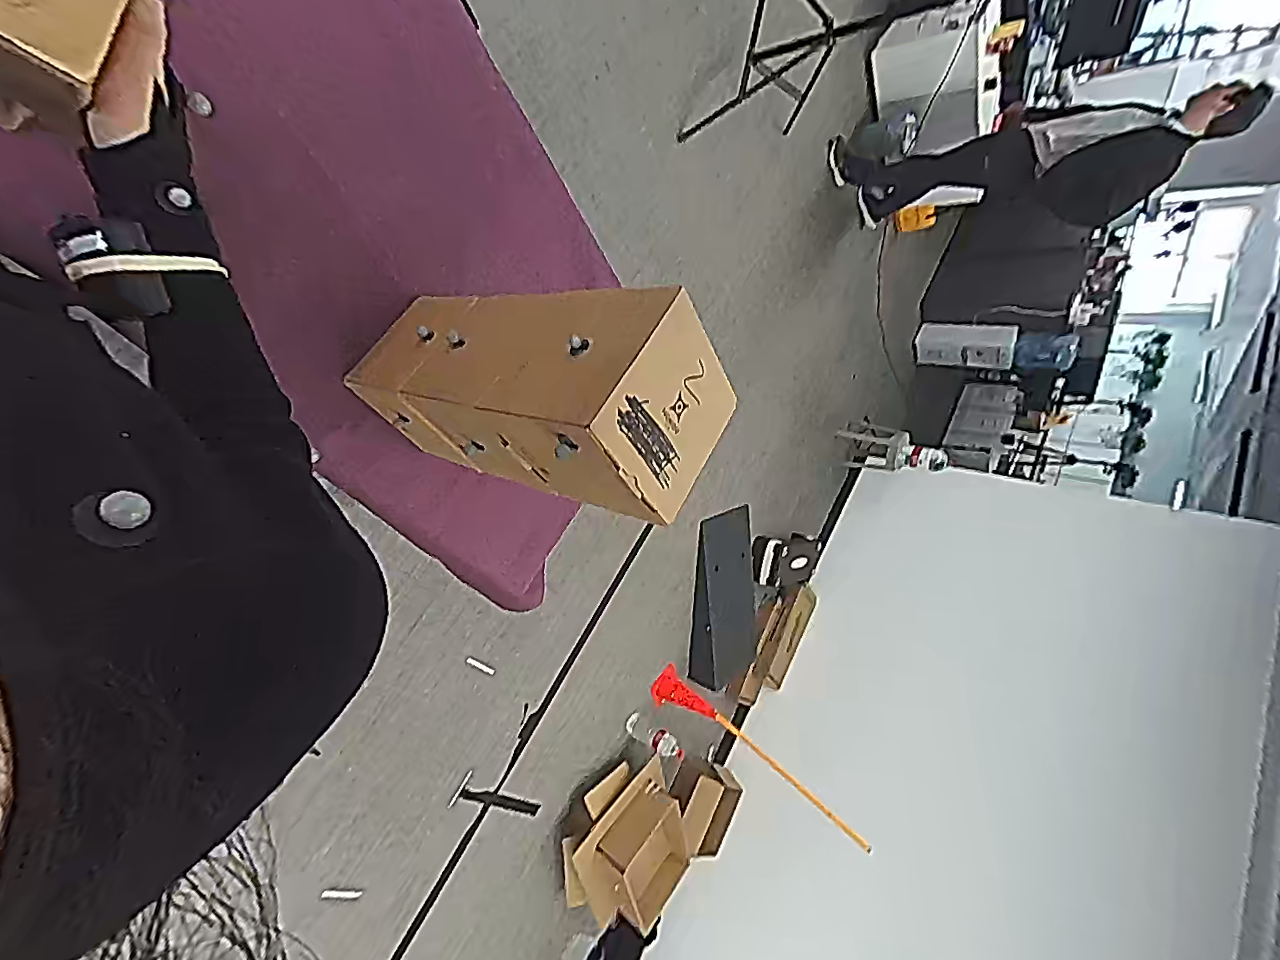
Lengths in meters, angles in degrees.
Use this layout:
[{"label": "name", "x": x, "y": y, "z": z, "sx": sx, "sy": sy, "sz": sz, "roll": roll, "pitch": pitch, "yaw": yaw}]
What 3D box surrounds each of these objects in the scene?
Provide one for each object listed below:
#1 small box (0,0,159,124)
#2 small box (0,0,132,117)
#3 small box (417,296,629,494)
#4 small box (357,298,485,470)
[{"label": "small box", "x": -0.510, "y": -0.413, "z": 0.412, "sx": 0.179, "sy": 0.176, "sz": 0.168, "roll": -61, "pitch": 140, "yaw": -17}, {"label": "small box", "x": -0.369, "y": -0.329, "z": 0.279, "sx": 0.168, "sy": 0.176, "sz": 0.179, "roll": 20, "pitch": 91, "yaw": -52}, {"label": "small box", "x": -0.152, "y": -0.111, "z": 0.689, "sx": 0.179, "sy": 0.176, "sz": 0.168, "roll": -57, "pitch": 138, "yaw": -20}, {"label": "small box", "x": -0.278, "y": -0.142, "z": 0.789, "sx": 0.179, "sy": 0.176, "sz": 0.168, "roll": -58, "pitch": 138, "yaw": -20}]
